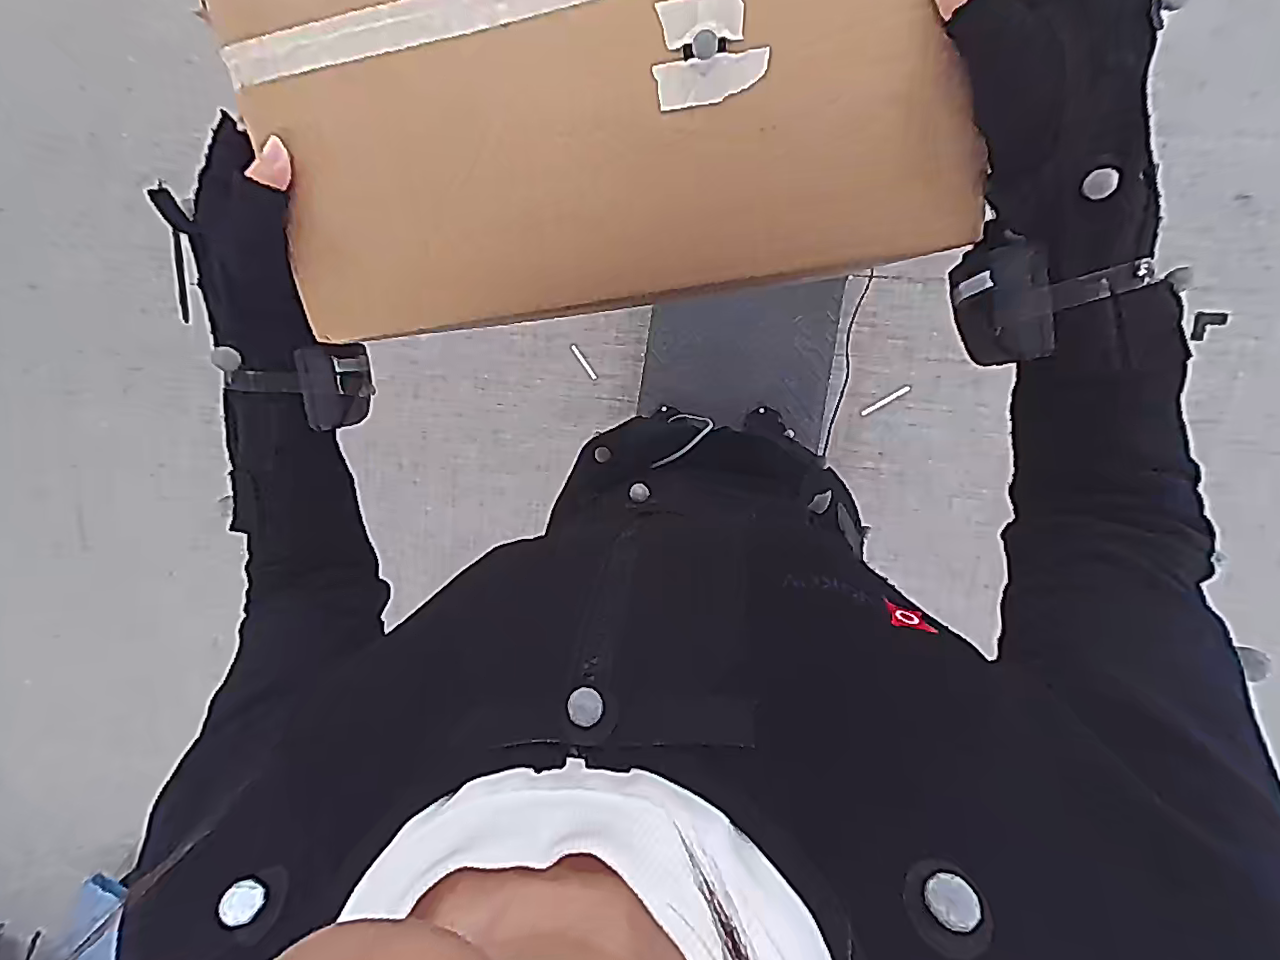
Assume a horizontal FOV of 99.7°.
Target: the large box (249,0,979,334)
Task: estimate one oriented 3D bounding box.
[{"bbox_3d":[-0.012,-0.311,0.433,0.408,0.320,0.320,-6,108,9],"label":"large box"}]
